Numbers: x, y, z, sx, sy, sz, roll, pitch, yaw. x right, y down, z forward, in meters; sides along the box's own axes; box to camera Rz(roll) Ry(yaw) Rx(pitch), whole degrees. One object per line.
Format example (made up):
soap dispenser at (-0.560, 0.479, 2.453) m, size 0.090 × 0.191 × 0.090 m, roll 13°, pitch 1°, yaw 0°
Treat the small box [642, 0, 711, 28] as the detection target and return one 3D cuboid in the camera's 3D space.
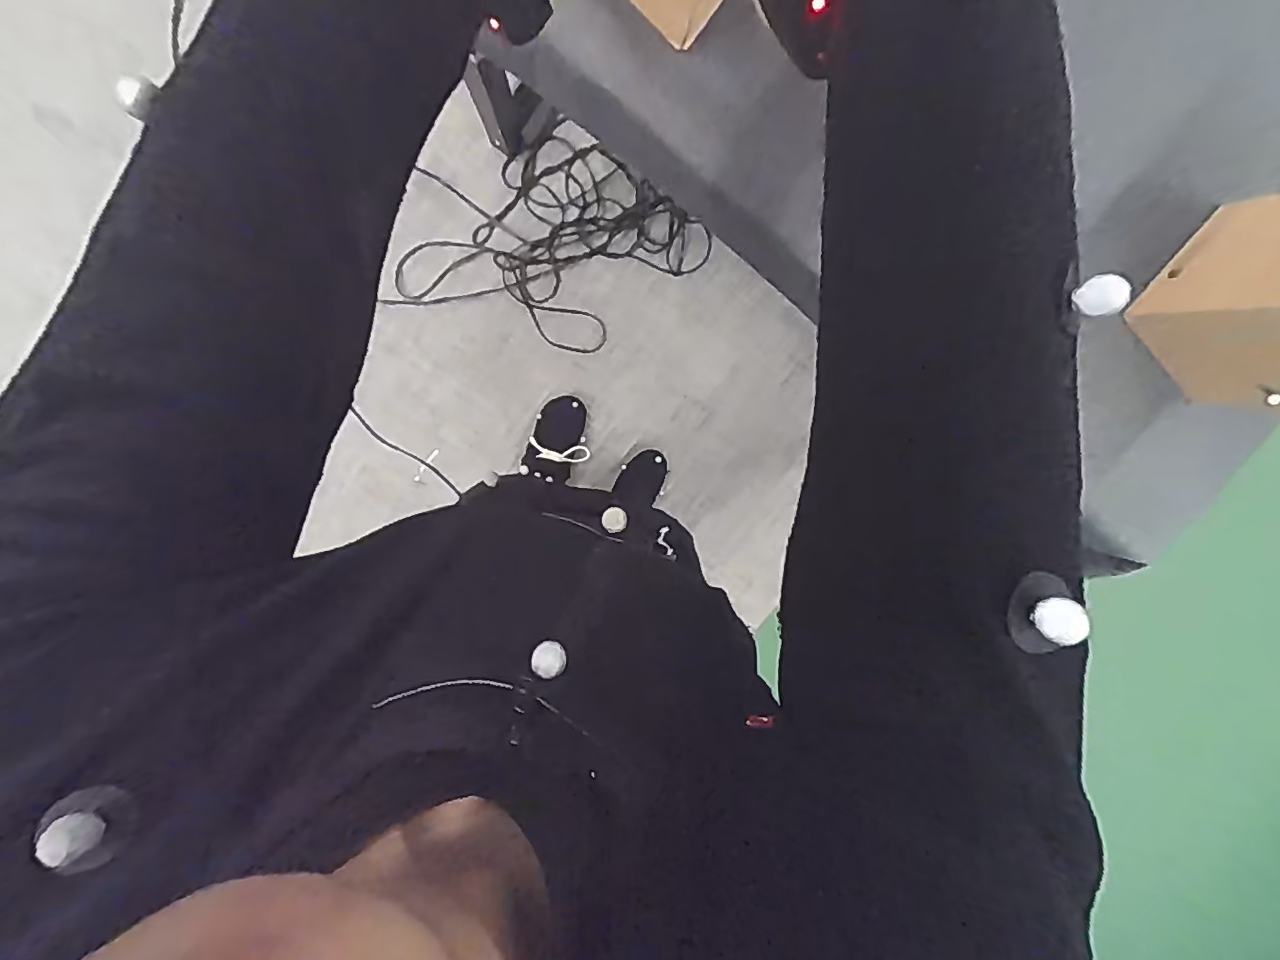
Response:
small box at (0.033, -0.514, 0.411) m, size 0.179 × 0.176 × 0.168 m, roll 37°, pitch 97°, yaw -16°
